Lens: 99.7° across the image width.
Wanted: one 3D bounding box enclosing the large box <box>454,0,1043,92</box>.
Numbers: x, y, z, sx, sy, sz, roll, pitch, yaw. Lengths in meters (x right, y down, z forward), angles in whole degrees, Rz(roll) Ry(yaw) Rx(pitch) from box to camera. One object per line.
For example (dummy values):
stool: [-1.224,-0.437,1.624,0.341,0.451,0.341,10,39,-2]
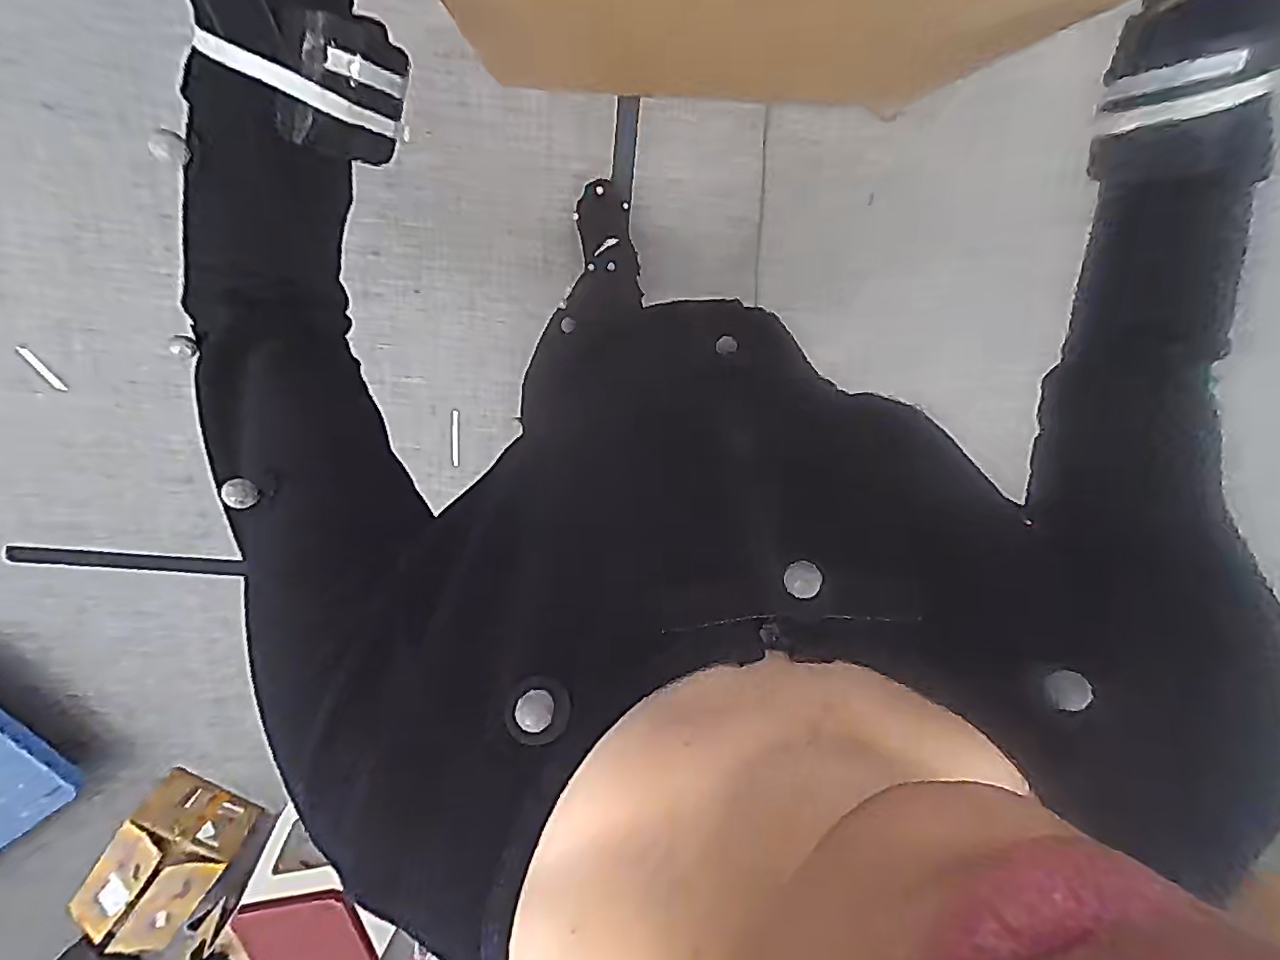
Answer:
large box: [0.069,-0.471,0.339,0.408,0.320,0.320,0,113,-4]
